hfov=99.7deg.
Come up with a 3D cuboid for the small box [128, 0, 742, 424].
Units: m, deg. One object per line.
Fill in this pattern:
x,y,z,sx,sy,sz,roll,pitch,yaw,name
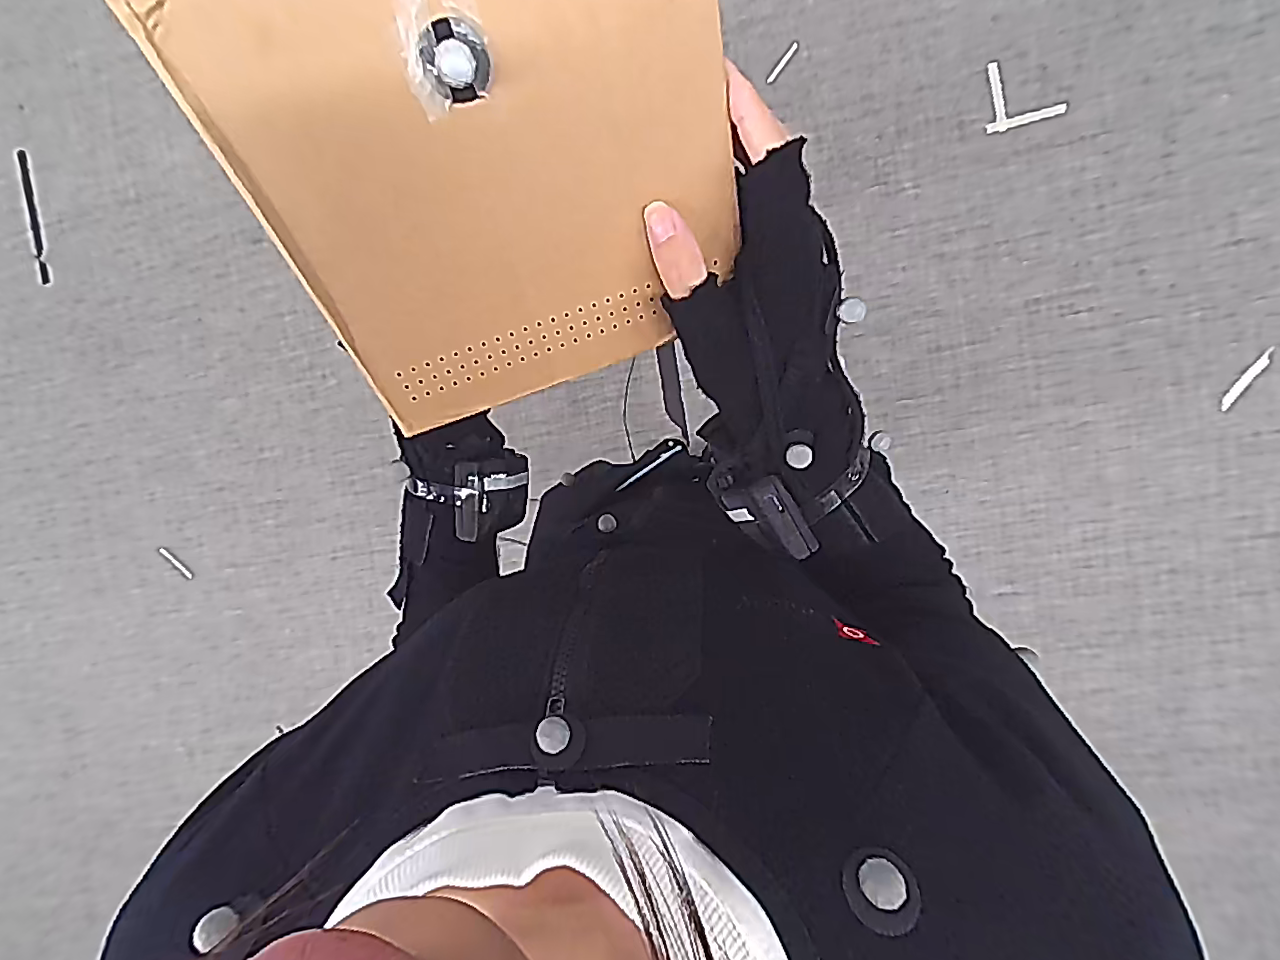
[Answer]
-0.065,-0.153,0.265,0.179,0.168,0.176,-20,134,-3,small box
